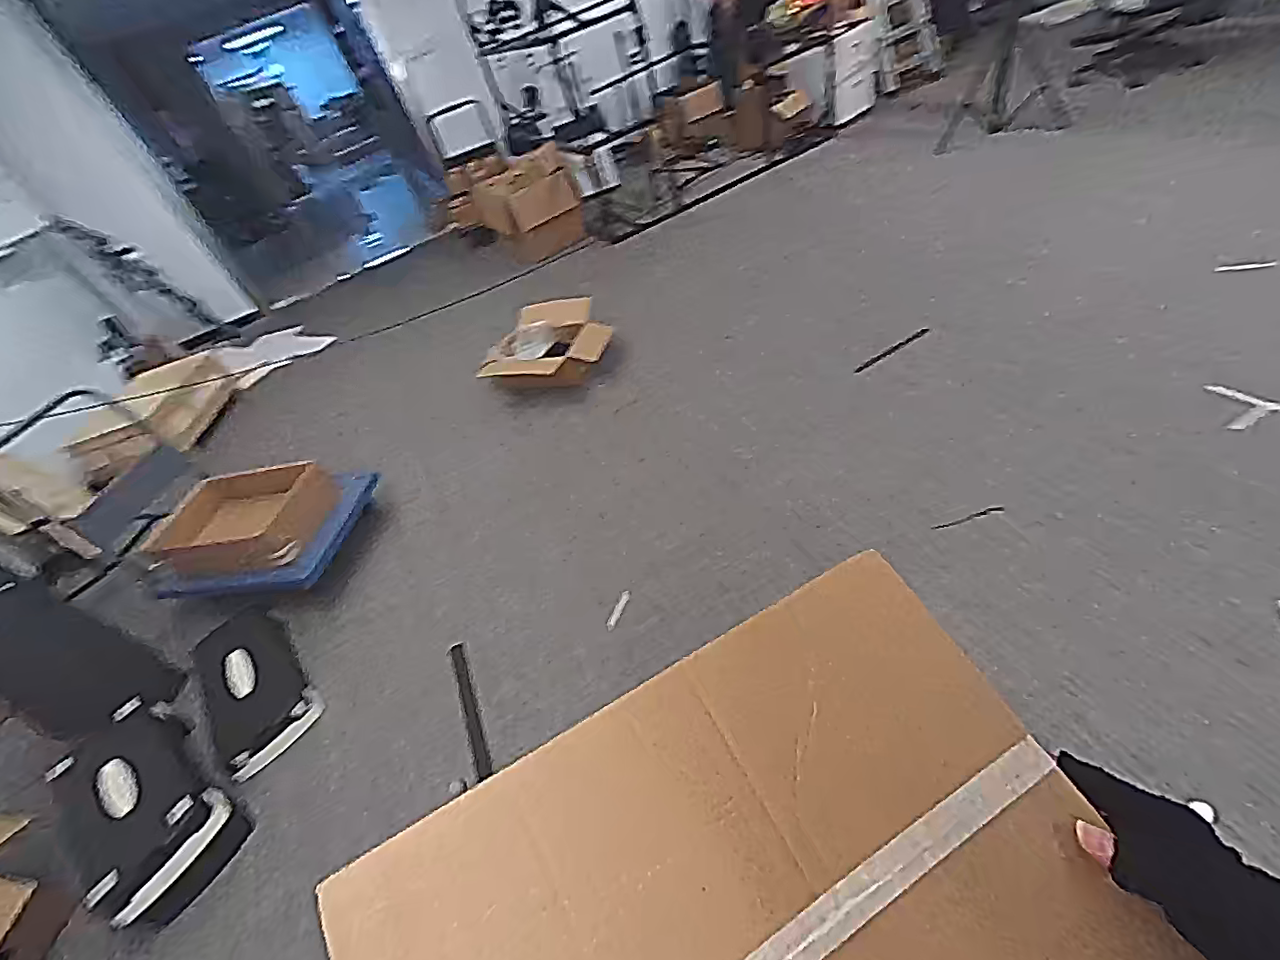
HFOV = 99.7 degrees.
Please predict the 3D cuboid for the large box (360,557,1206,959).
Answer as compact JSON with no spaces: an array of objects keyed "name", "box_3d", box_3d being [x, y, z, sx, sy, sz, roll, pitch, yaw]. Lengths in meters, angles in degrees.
[{"name":"large box","box_3d":[0.079,0.330,0.429,0.408,0.320,0.320,-26,66,-13]}]
